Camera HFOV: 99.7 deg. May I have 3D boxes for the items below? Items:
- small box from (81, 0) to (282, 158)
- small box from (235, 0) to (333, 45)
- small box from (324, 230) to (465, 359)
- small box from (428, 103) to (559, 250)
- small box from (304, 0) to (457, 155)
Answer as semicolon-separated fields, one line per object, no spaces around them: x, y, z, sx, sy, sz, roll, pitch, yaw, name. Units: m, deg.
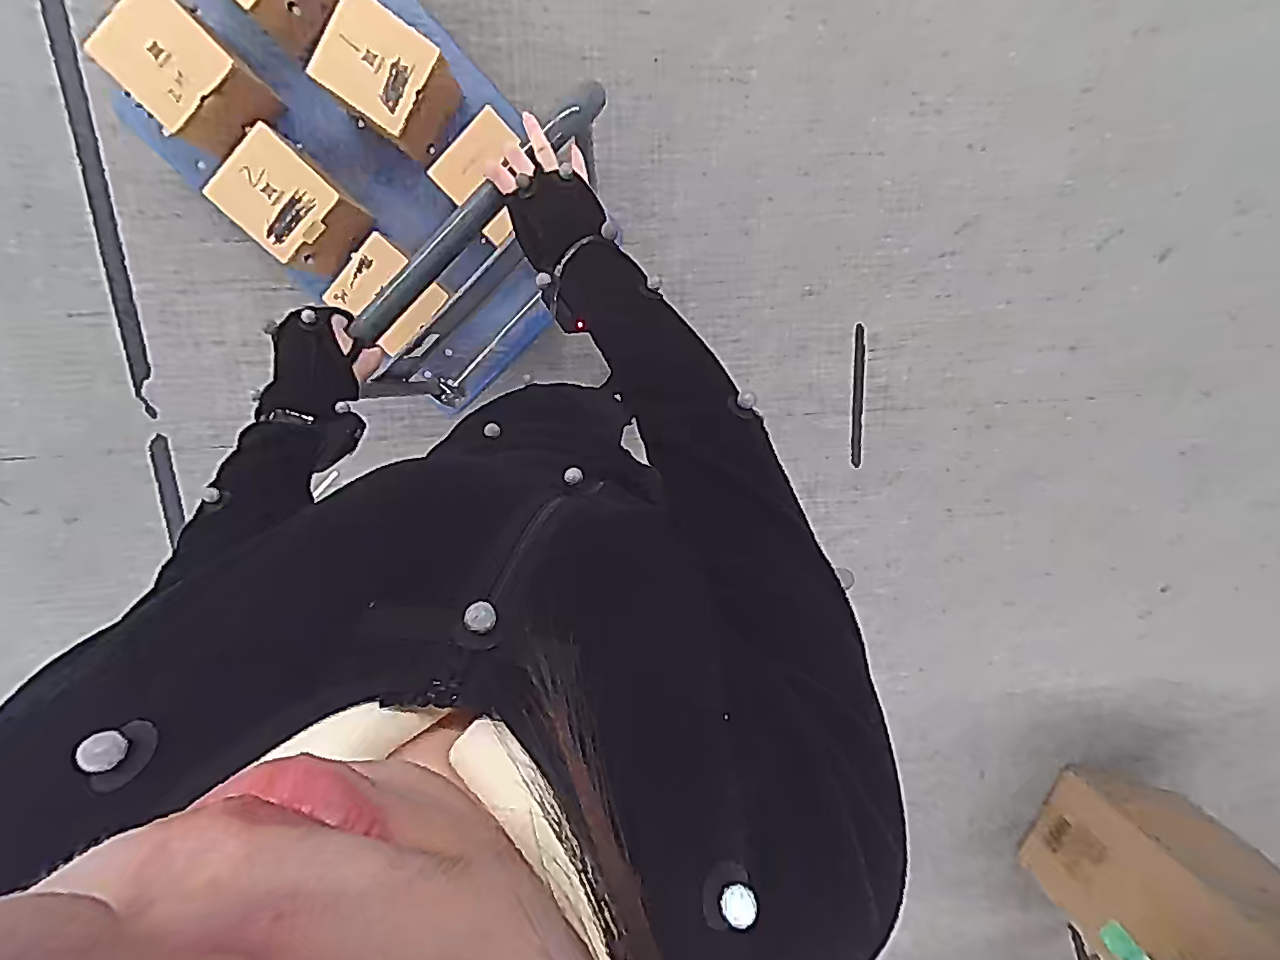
-0.807;-0.728;0.973;0.168;0.176;0.179;-43;105;6;small box
-0.668;-0.915;0.942;0.179;0.176;0.168;41;97;-13;small box
-0.483;-0.368;1.097;0.179;0.176;0.168;40;96;-14;small box
-0.276;-0.580;1.067;0.168;0.176;0.179;-44;103;5;small box
-0.466;-0.743;1.005;0.179;0.176;0.168;31;99;-11;small box
